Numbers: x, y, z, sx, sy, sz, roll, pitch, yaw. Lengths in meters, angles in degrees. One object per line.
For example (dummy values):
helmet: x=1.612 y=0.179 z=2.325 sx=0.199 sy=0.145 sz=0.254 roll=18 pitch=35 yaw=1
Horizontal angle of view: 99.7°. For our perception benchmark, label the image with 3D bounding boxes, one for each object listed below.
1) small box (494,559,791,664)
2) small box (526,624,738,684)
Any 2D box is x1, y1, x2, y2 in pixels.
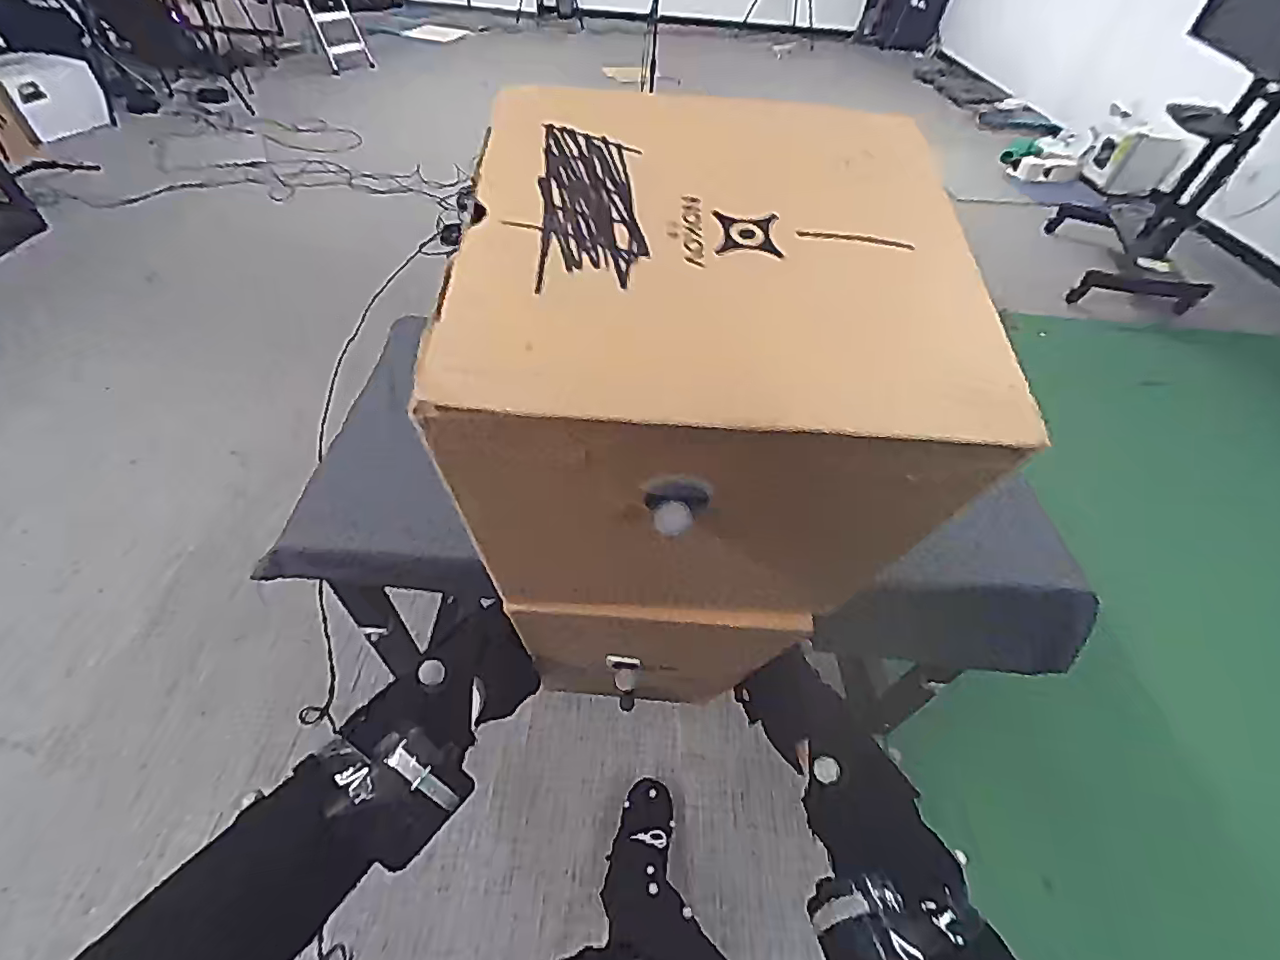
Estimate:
small box: x=0.002 y=0.026 z=0.401 sx=0.168 sy=0.176 sz=0.179 roll=5 pitch=62 yaw=-1
small box: x=-0.007 y=0.104 z=0.545 sx=0.179 sy=0.176 sz=0.168 roll=6 pitch=61 yaw=-2
